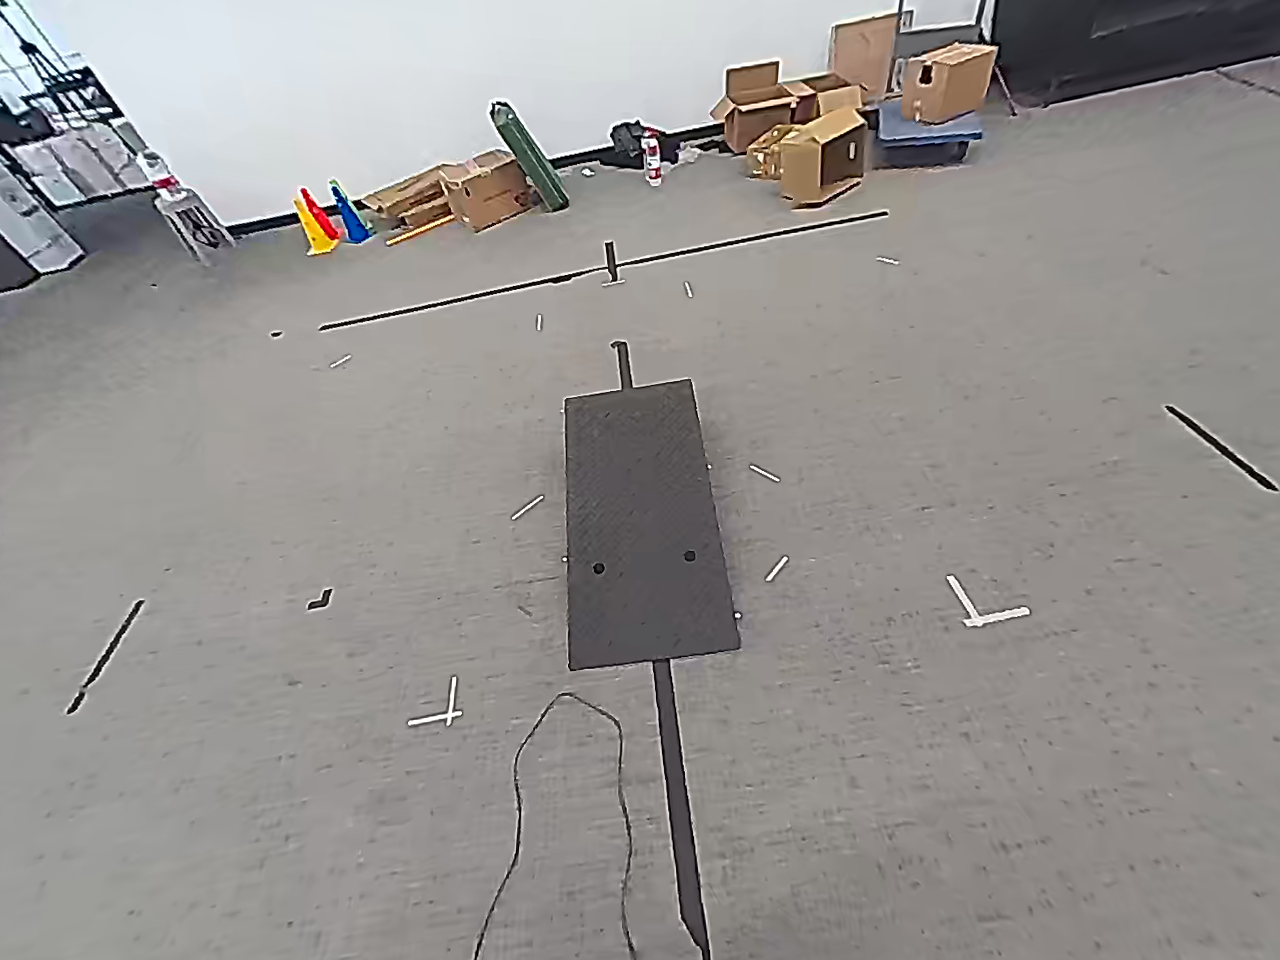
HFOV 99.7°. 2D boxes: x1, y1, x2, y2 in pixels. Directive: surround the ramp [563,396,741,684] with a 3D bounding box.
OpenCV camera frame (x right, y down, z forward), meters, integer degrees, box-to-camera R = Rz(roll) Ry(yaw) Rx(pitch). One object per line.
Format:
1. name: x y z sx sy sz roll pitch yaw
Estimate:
1. ramp: -0.002 0.134 1.799 0.509 0.206 0.991 -10 46 2
